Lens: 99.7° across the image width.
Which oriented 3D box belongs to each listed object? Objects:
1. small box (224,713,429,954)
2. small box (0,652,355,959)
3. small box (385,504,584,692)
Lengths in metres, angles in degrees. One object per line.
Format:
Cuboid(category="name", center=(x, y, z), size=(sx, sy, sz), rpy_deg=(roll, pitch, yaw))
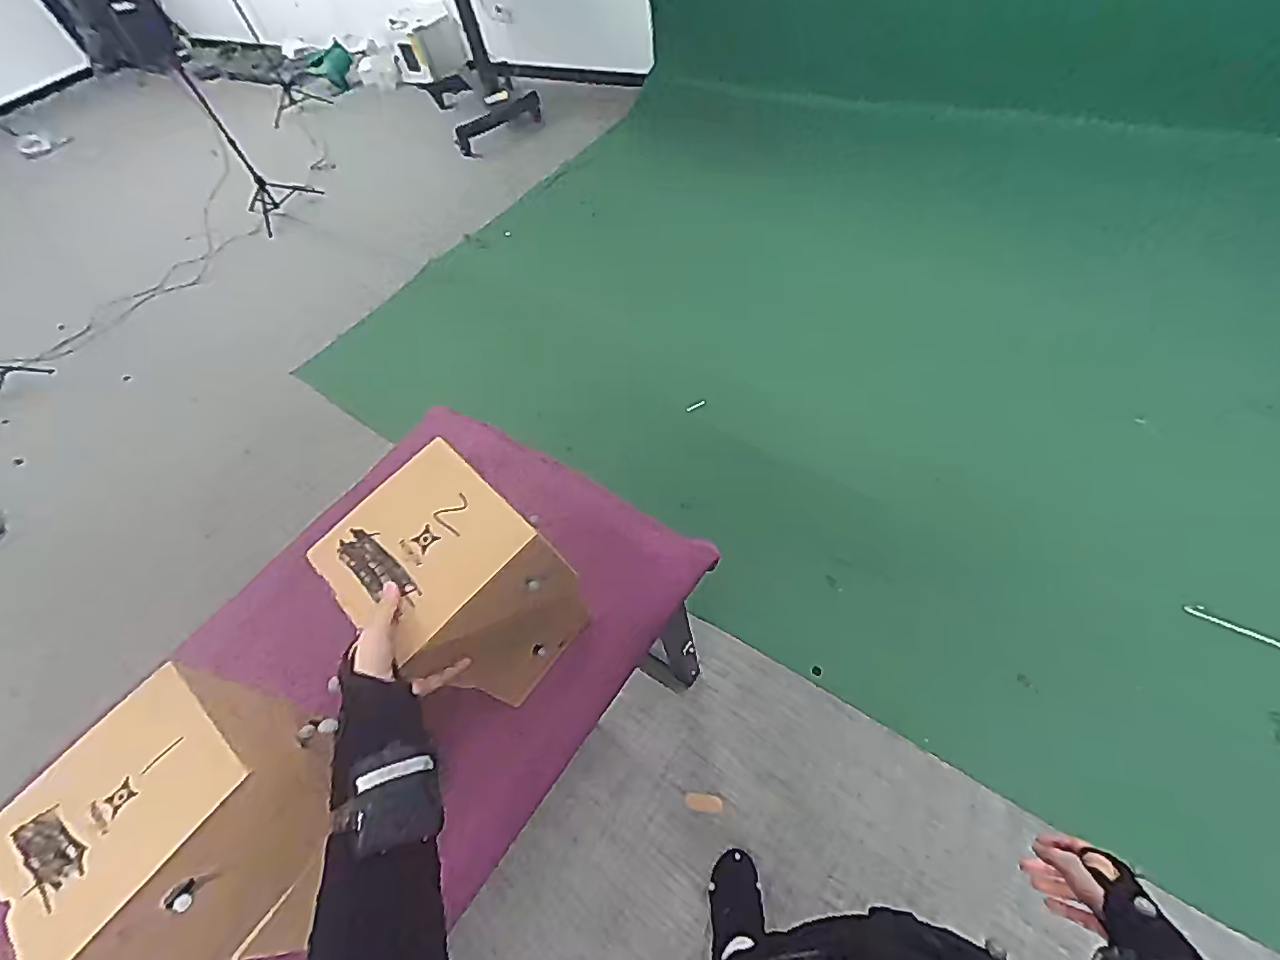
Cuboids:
Cuboid(category="small box", center=(-0.388, 0.394, 0.634), size=(0.179, 0.176, 0.168), rpy_deg=(24, 63, 26))
Cuboid(category="small box", center=(-0.414, 0.300, 0.500), size=(0.168, 0.176, 0.179), rpy_deg=(27, 64, 27))
Cuboid(category="small box", center=(-0.201, 0.170, 0.749), size=(0.179, 0.176, 0.168), rpy_deg=(31, 67, 25))
